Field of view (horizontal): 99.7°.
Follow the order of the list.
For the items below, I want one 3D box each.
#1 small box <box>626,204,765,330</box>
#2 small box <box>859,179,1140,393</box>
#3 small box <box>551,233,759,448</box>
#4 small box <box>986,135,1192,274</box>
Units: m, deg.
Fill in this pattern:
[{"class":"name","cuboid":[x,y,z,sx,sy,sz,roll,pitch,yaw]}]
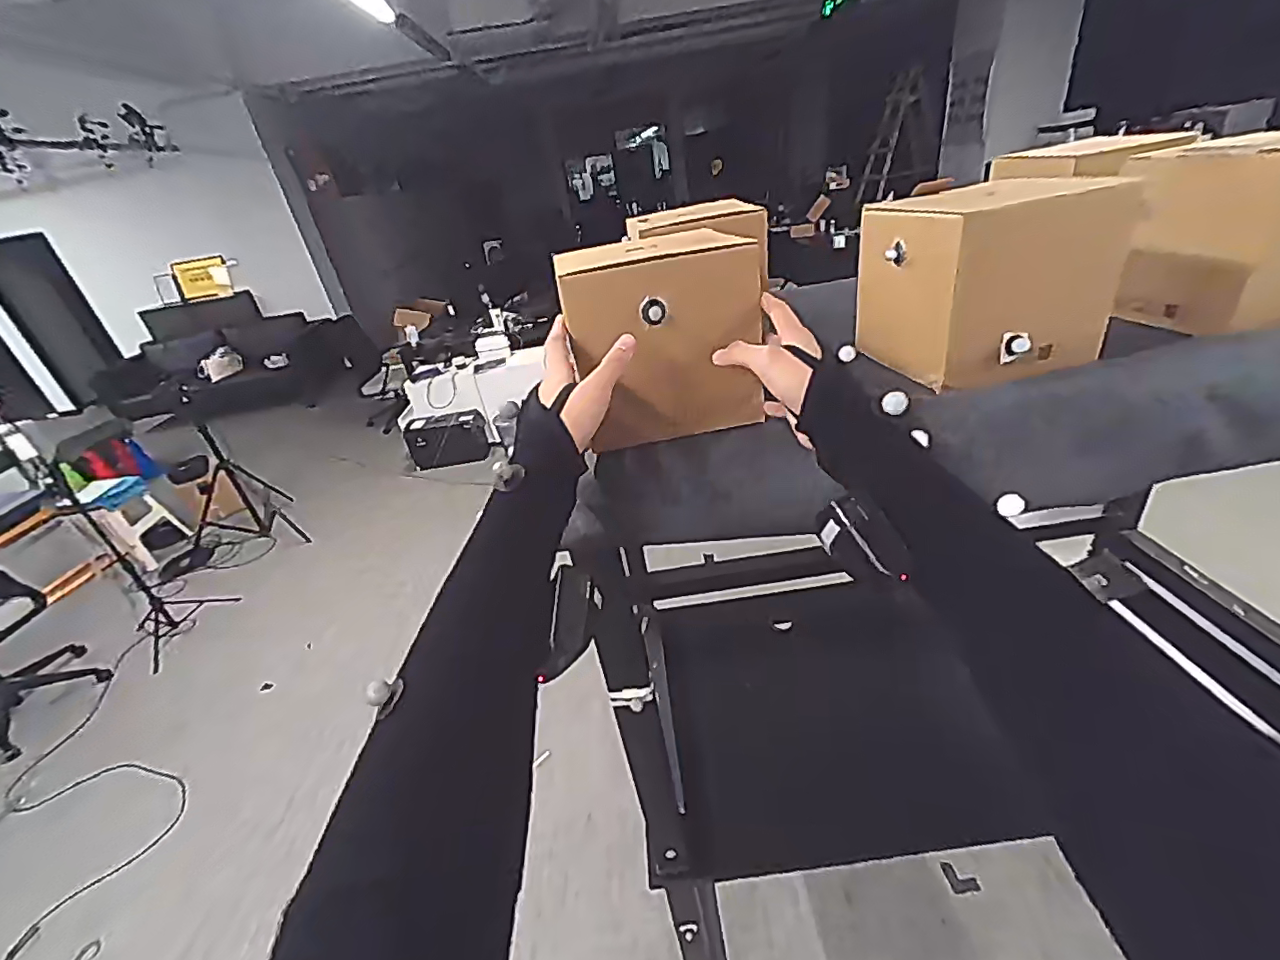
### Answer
[{"class":"small box","cuboid":[0.081,-0.306,0.814,0.179,0.176,0.168,-10,30,-1]},{"class":"small box","cuboid":[0.344,-0.204,0.564,0.168,0.176,0.179,-12,29,-2]},{"class":"small box","cuboid":[0.013,-0.146,0.554,0.179,0.176,0.168,-11,29,-4]},{"class":"small box","cuboid":[0.649,-0.405,0.818,0.168,0.176,0.179,-10,30,0]}]
